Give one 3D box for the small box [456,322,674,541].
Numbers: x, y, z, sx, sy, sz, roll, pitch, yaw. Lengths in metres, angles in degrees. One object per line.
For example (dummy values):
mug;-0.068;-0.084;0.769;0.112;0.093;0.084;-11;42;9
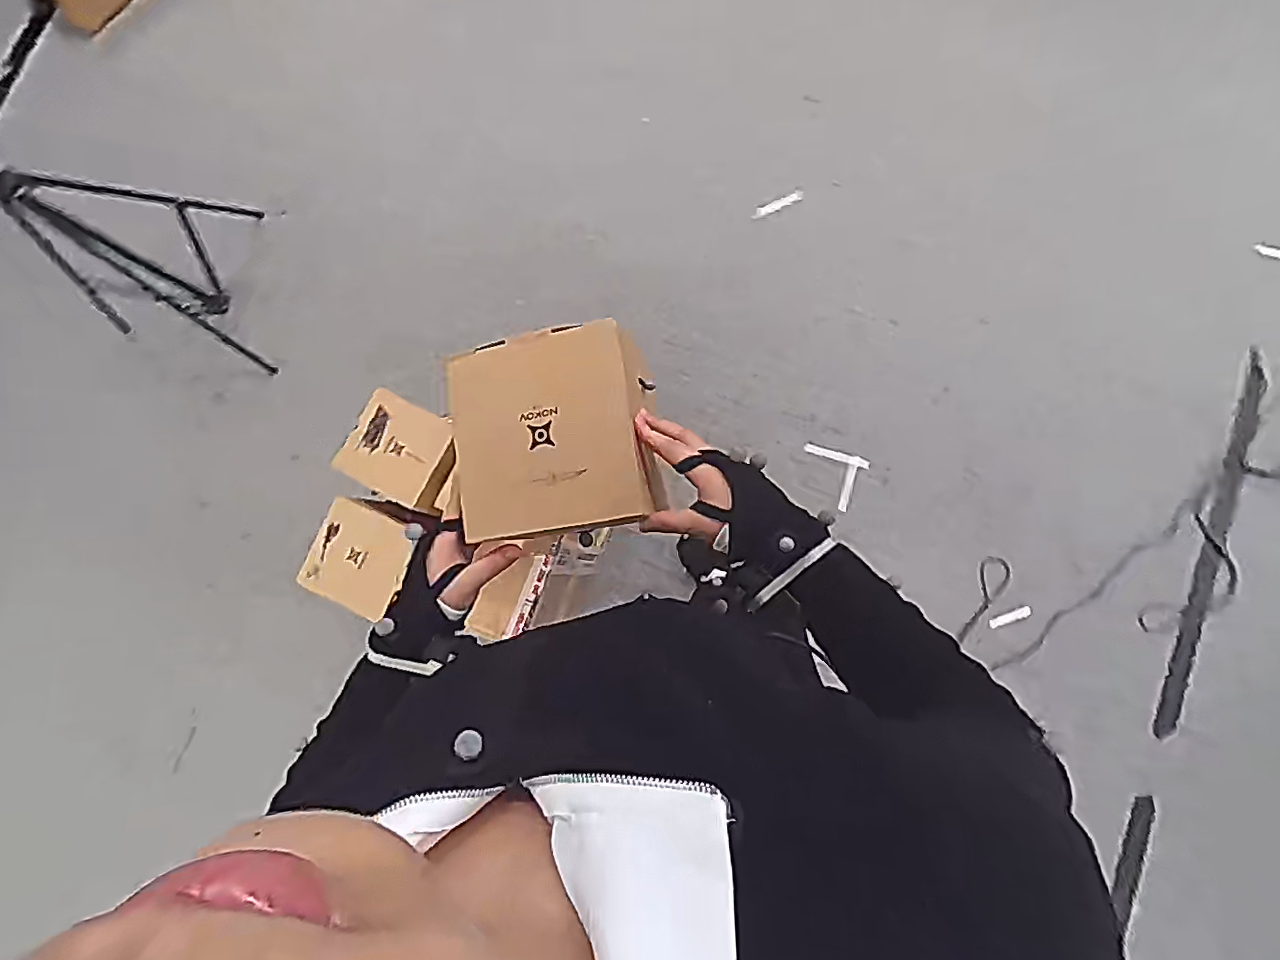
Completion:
small box;-0.064;-0.033;0.542;0.168;0.176;0.179;-8;84;11
